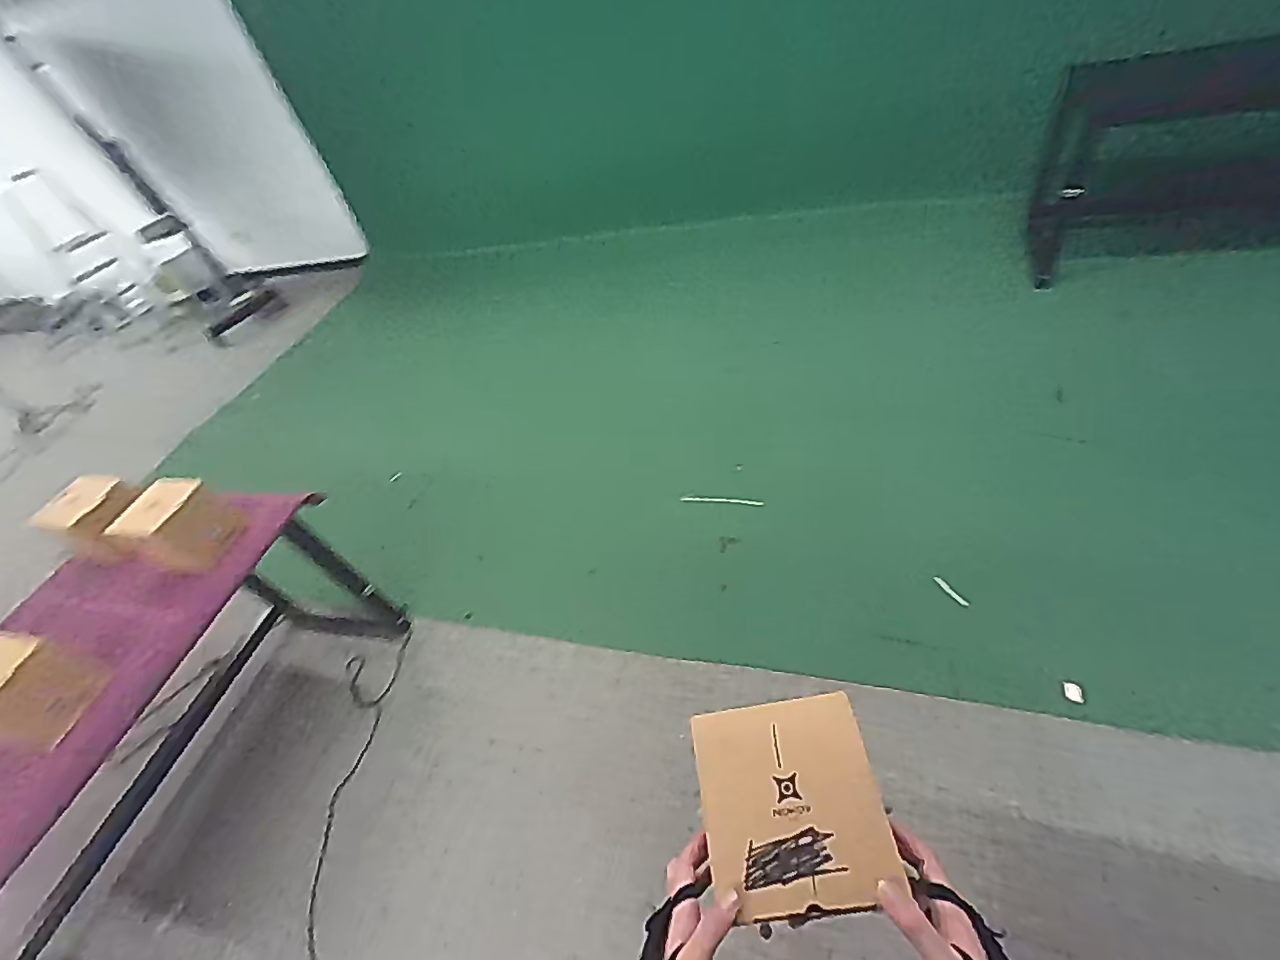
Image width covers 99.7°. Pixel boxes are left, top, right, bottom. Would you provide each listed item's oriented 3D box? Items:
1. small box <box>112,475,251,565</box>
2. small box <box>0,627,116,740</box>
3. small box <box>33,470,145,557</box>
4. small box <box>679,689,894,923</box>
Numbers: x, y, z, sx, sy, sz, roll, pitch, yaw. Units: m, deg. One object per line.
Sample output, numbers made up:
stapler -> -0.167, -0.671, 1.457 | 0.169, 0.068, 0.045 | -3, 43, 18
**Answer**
small box -> -1.172, 0.104, 1.396 | 0.179, 0.176, 0.168 | 2, 51, 19
small box -> -1.289, 0.428, 1.136 | 0.179, 0.176, 0.168 | 0, 48, 17
small box -> -1.472, 0.095, 1.494 | 0.179, 0.176, 0.168 | 5, 50, 17
small box -> 0.145, 0.345, 0.571 | 0.168, 0.176, 0.179 | -12, 50, 6
